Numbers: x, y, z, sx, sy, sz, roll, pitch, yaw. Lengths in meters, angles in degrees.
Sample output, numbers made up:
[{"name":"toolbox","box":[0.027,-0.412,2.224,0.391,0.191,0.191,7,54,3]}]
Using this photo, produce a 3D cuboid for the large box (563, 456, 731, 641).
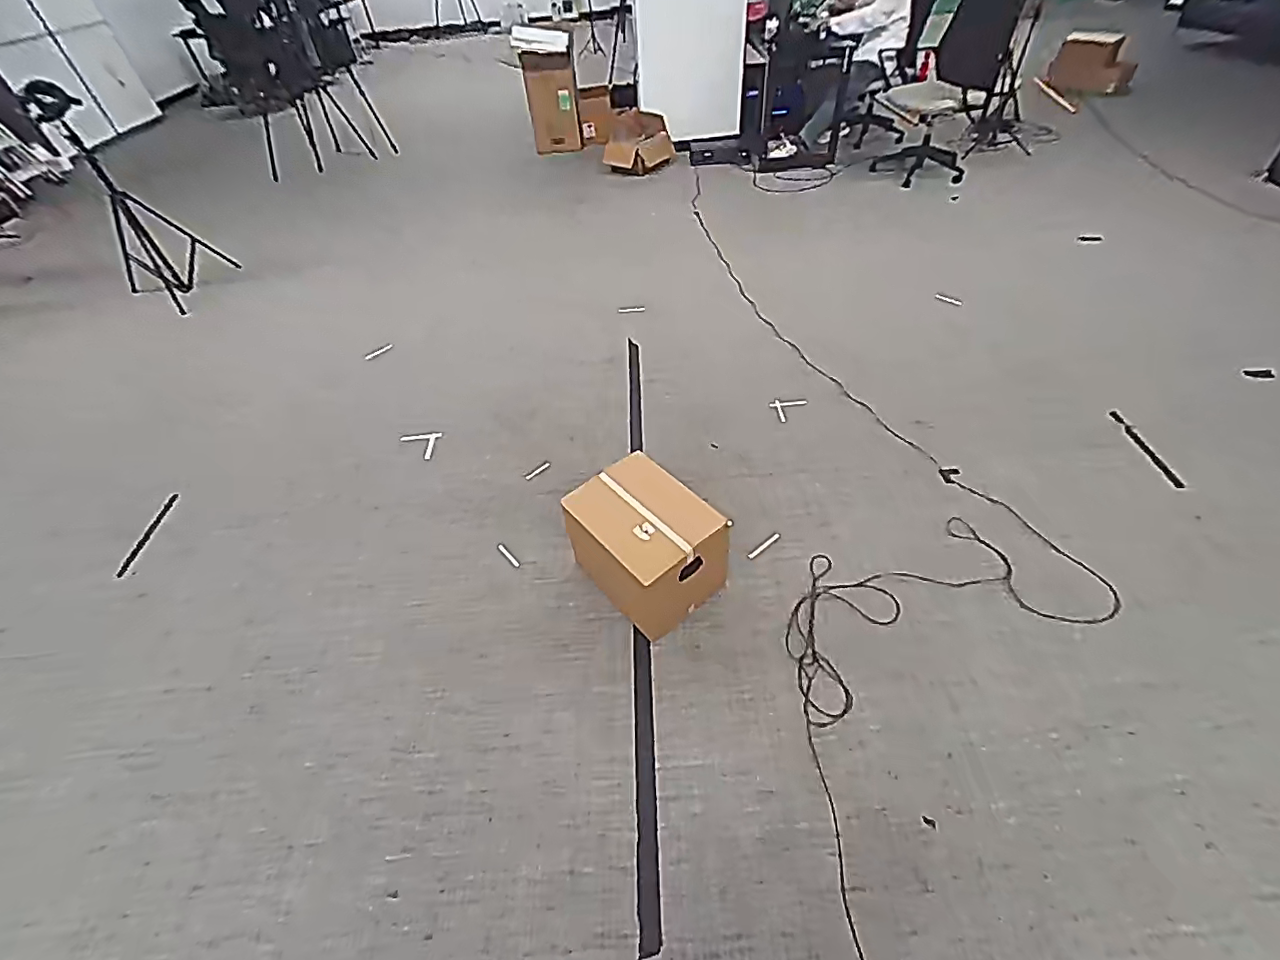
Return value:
[{"name":"large box","box":[0.020,0.202,1.659,0.320,0.320,0.408,-34,53,-24]}]
